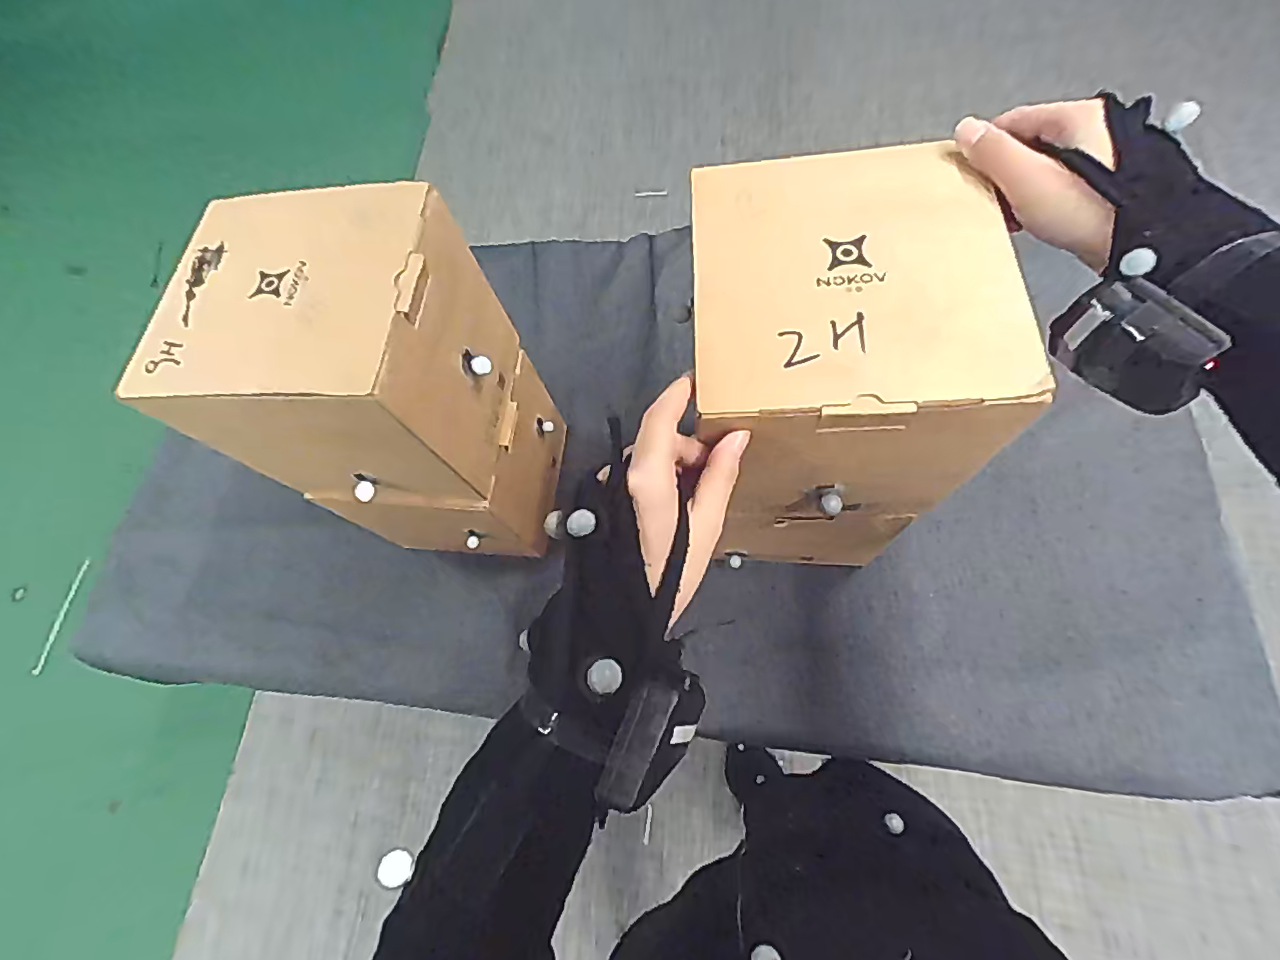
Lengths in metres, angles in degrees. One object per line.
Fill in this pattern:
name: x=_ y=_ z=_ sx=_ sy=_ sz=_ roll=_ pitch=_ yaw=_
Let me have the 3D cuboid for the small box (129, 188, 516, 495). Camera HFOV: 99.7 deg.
small box: x=-0.212 y=-0.094 z=0.422 sx=0.179 sy=0.176 sz=0.168 roll=1 pitch=67 yaw=8

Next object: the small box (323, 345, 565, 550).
small box: x=-0.186 y=-0.025 z=0.572 sx=0.179 sy=0.176 sz=0.168 roll=-1 pitch=70 yaw=8

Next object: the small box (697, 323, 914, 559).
small box: x=0.144 y=-0.027 z=0.521 sx=0.168 sy=0.176 sz=0.179 roll=1 pitch=67 yaw=8
